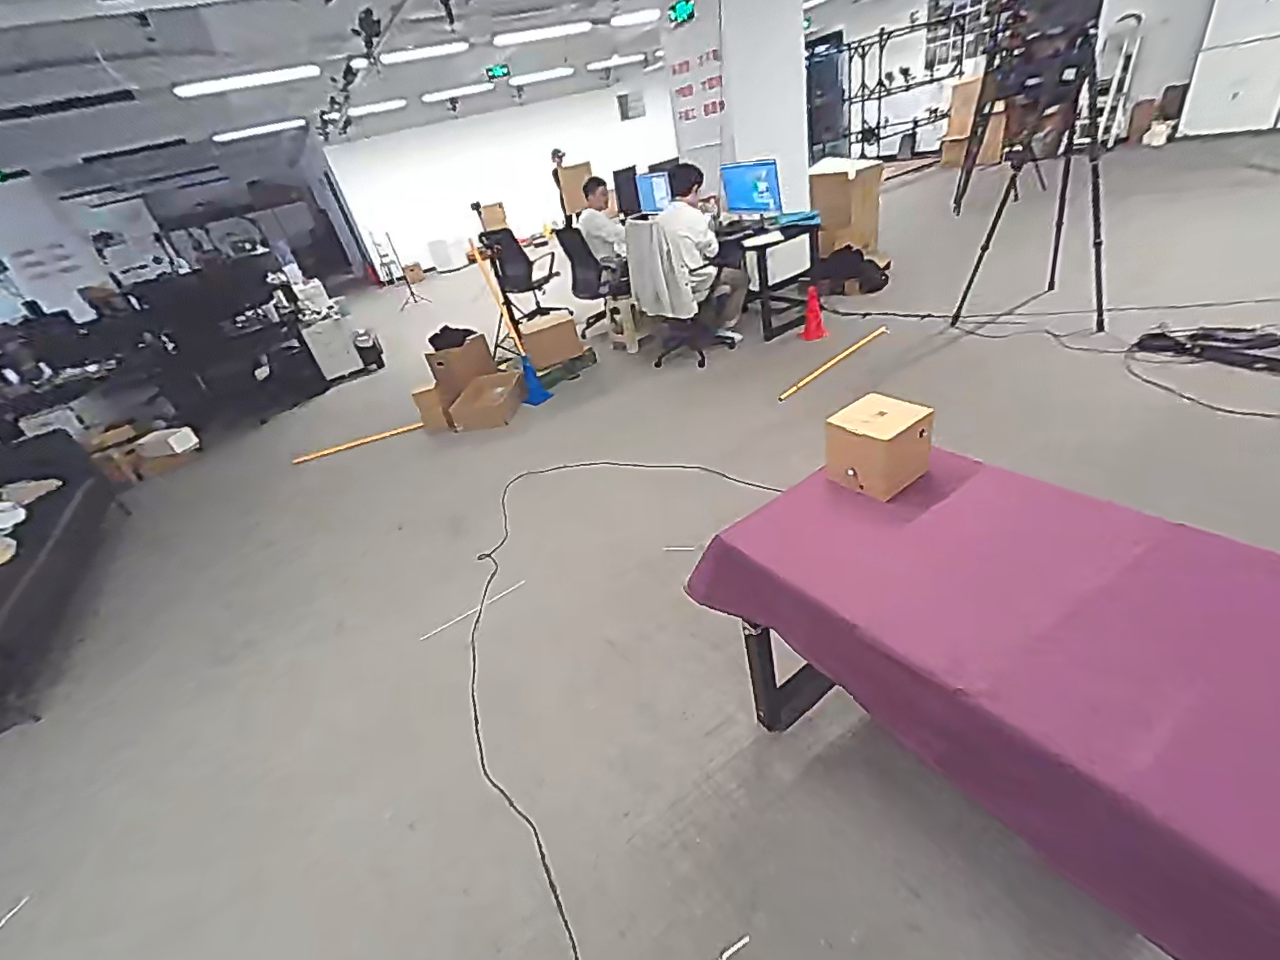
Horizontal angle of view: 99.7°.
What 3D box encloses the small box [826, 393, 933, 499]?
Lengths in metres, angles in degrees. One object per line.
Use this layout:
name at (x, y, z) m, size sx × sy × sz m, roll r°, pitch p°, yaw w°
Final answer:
small box at (0.567, -0.084, 1.294) m, size 0.179 × 0.176 × 0.168 m, roll -29°, pitch 35°, yaw -22°
